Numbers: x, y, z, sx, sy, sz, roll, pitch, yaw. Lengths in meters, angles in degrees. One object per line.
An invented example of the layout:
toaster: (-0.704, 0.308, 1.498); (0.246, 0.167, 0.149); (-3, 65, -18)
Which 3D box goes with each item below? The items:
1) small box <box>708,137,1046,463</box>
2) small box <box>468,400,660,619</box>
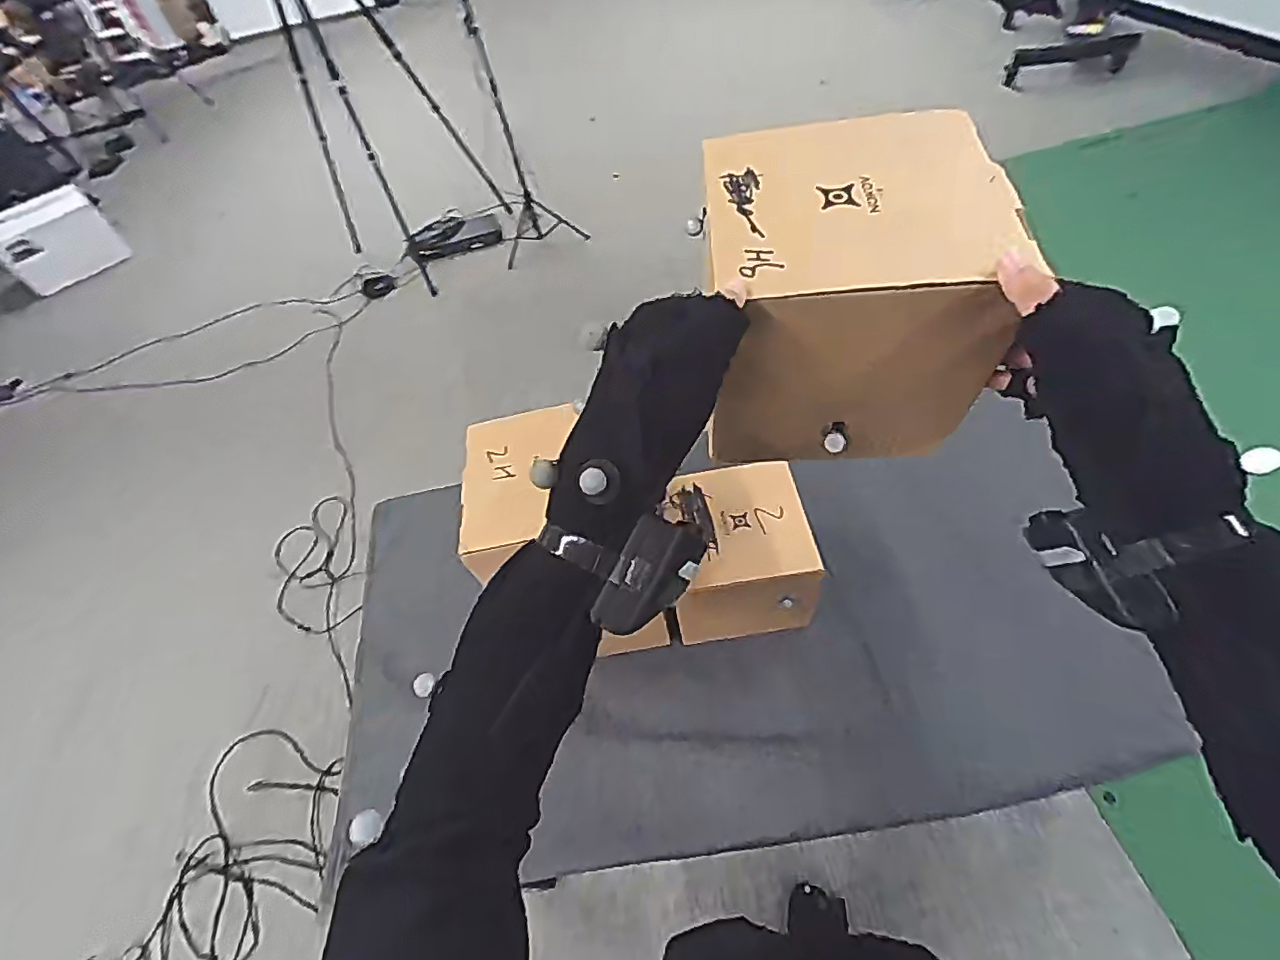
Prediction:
small box: (0.144, -0.124, 0.407); (0.179, 0.176, 0.168); (-1, 58, 5)
small box: (-0.076, 0.038, 0.612); (0.179, 0.176, 0.168); (-11, 52, 1)
